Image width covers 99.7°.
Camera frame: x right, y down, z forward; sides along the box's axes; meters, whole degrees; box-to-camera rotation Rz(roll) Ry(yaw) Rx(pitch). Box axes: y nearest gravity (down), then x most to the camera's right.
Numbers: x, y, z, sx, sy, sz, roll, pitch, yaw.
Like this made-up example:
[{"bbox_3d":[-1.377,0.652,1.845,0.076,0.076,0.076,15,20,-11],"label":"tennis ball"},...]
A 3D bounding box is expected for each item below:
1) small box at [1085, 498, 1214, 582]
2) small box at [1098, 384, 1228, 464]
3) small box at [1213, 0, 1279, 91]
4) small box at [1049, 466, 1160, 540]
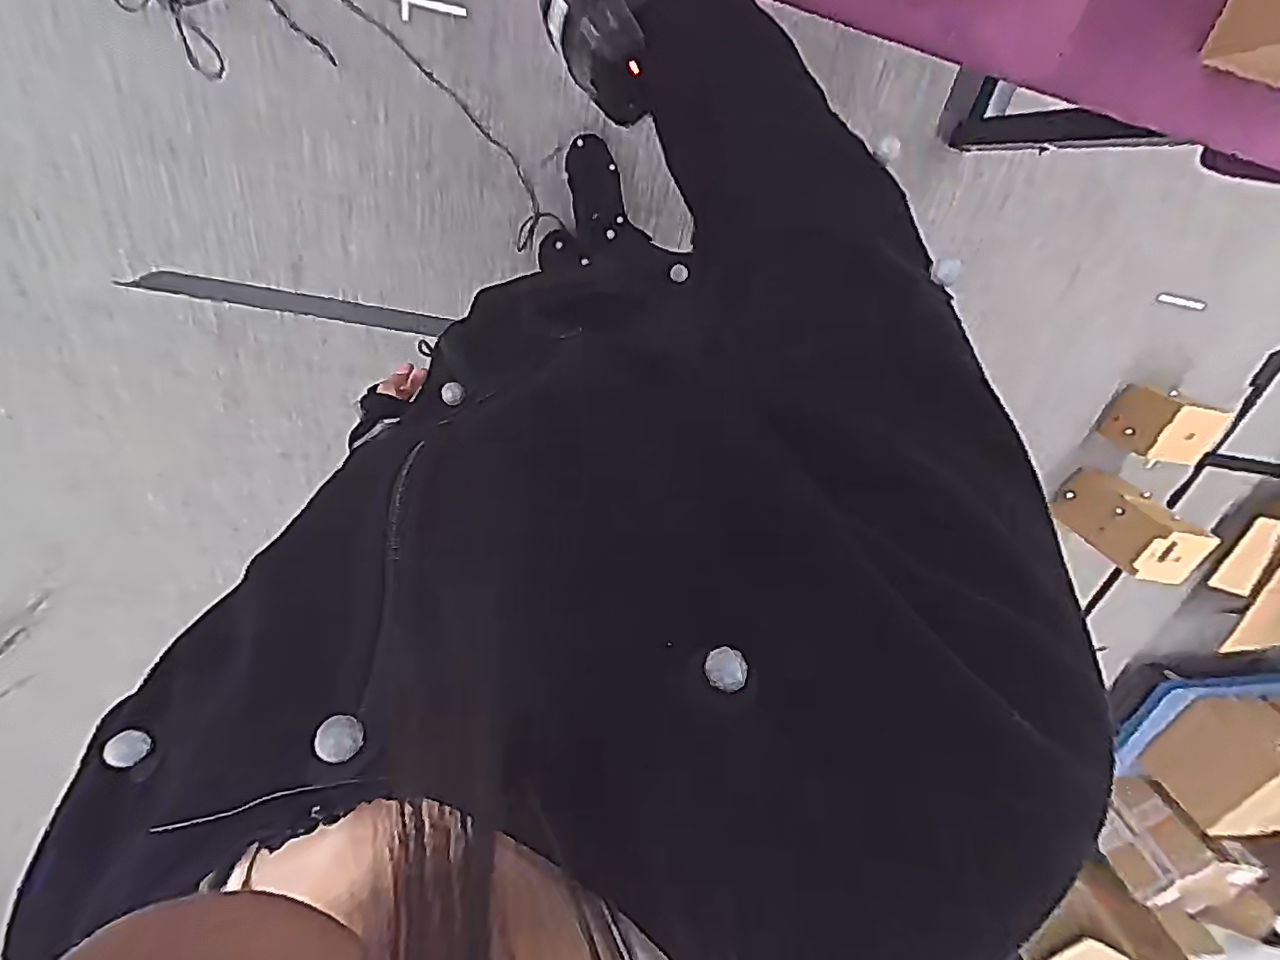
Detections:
[{"bbox_3d":[1.461,0.170,1.565,0.179,0.176,0.168,9,119,-13],"label":"small box"},{"bbox_3d":[1.496,-0.166,1.562,0.179,0.176,0.168,5,121,-11],"label":"small box"},{"bbox_3d":[0.653,-0.436,0.437,0.168,0.176,0.179,7,119,-10],"label":"small box"},{"bbox_3d":[1.450,0.084,1.706,0.168,0.176,0.179,11,120,-13],"label":"small box"}]
